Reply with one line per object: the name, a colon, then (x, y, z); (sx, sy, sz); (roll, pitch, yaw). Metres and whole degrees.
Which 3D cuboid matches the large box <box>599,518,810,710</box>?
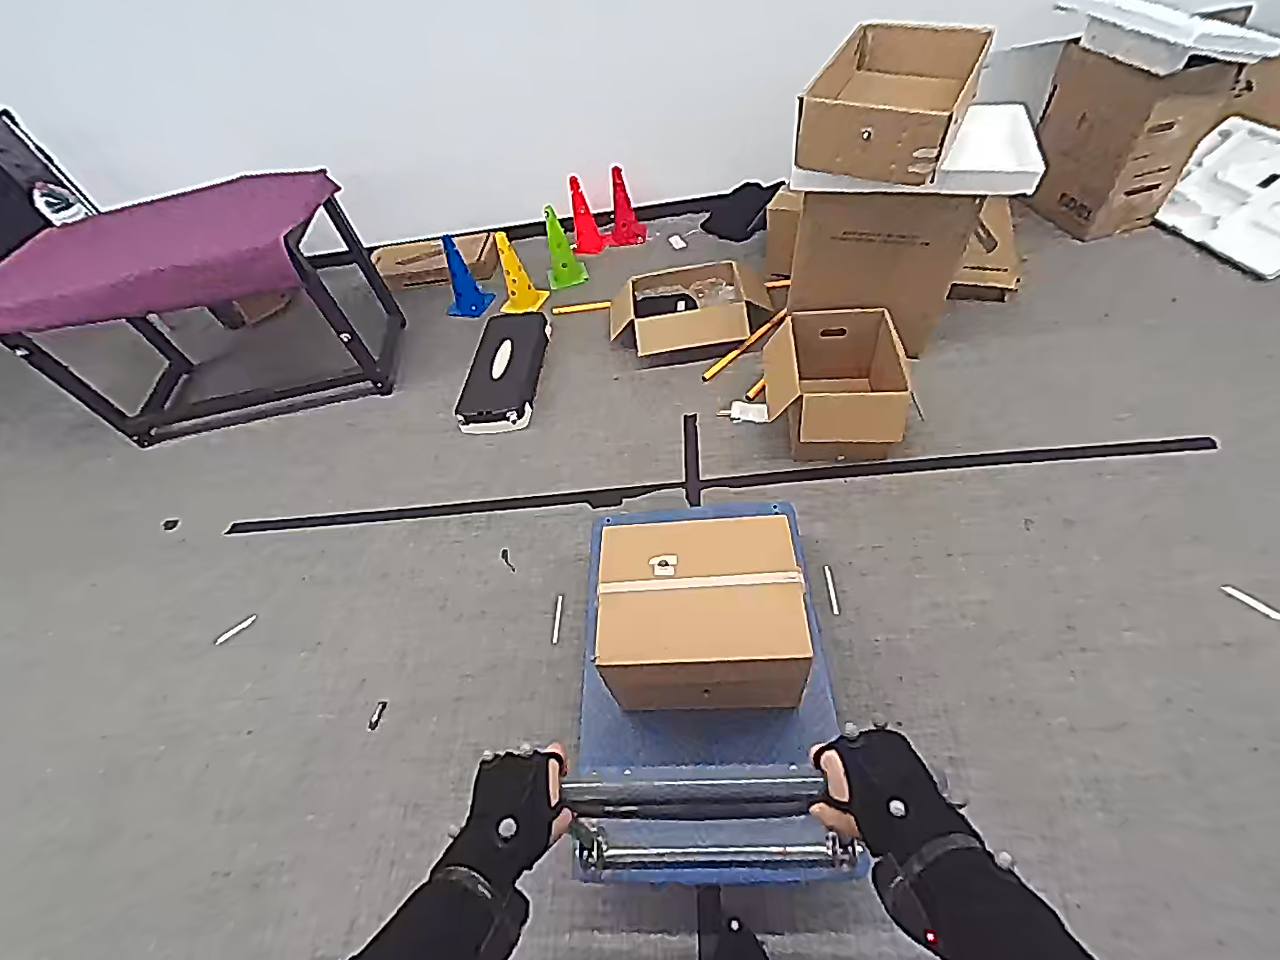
large box: (0.141, 0.314, 1.224); (0.408, 0.320, 0.320); (-6, 51, 7)
